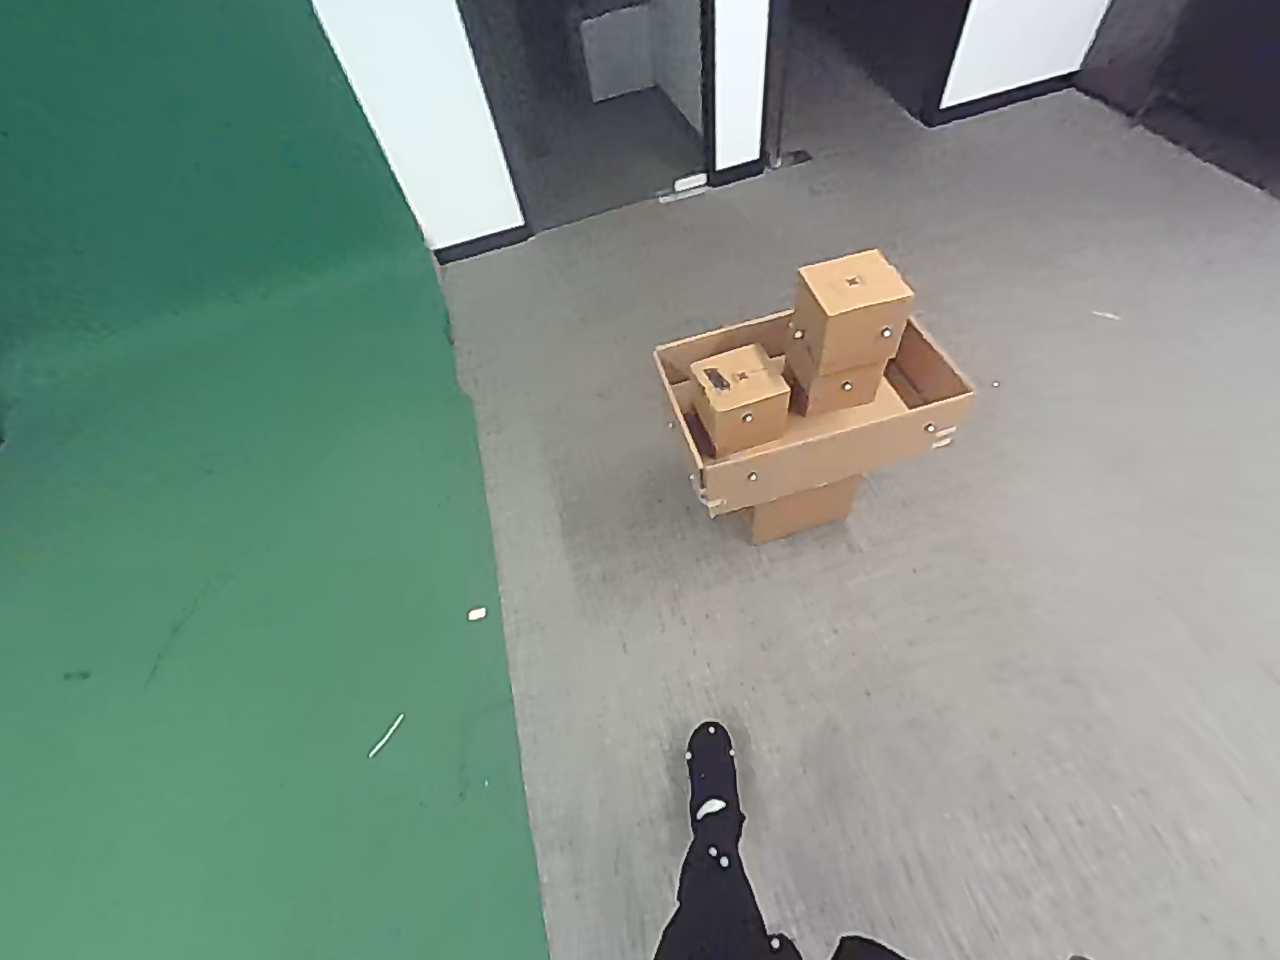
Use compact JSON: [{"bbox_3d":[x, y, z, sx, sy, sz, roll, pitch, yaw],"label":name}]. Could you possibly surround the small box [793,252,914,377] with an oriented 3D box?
[{"bbox_3d":[0.440,-0.346,1.148,0.179,0.176,0.168,-14,55,1],"label":"small box"}]
